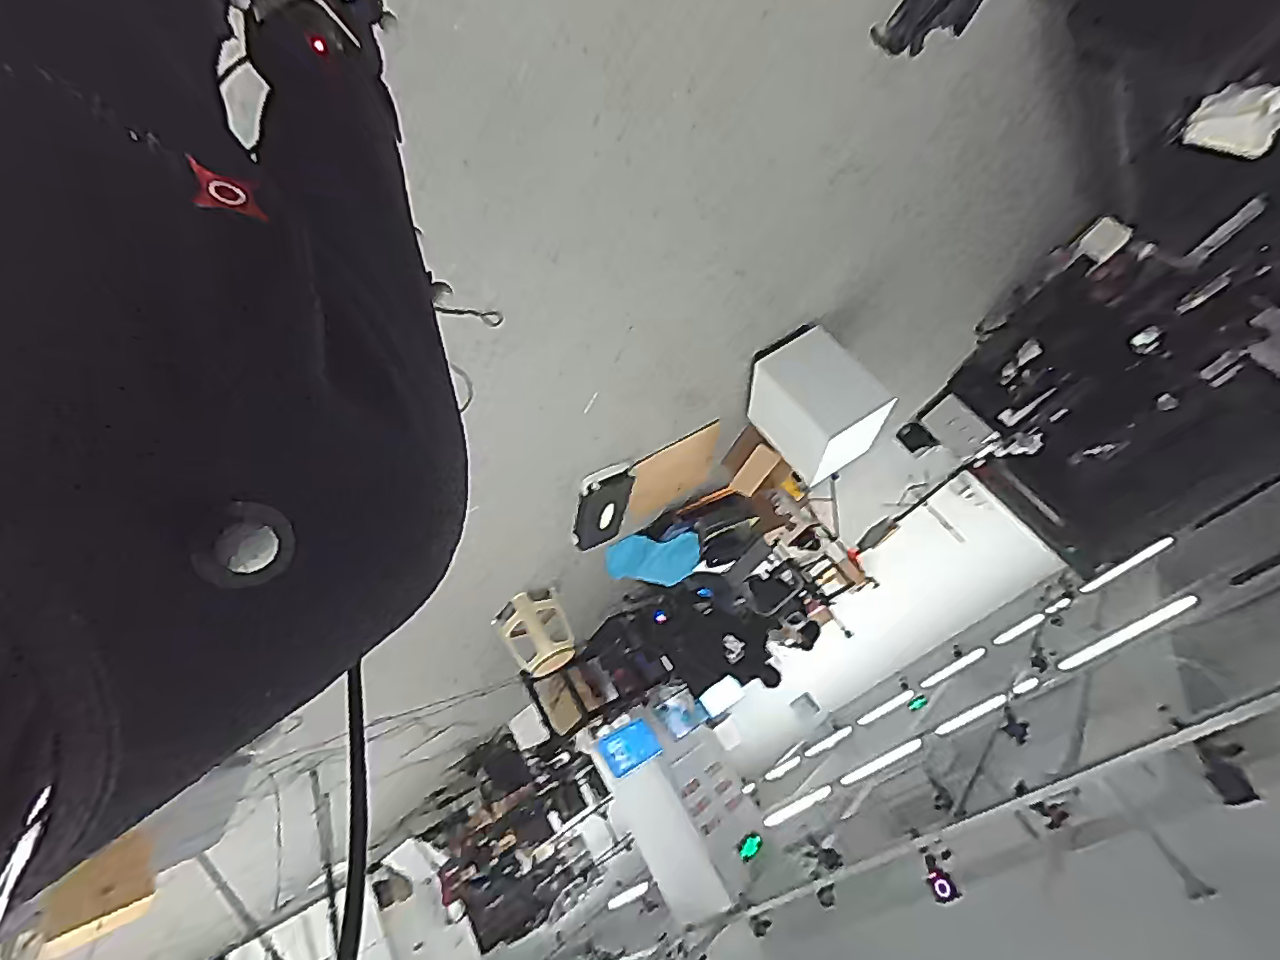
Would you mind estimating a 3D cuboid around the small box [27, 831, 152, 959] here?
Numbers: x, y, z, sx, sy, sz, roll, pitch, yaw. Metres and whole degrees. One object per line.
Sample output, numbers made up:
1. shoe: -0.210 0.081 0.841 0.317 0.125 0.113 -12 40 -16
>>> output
1. small box: -1.260 0.955 1.236 0.168 0.176 0.179 -49 154 26
